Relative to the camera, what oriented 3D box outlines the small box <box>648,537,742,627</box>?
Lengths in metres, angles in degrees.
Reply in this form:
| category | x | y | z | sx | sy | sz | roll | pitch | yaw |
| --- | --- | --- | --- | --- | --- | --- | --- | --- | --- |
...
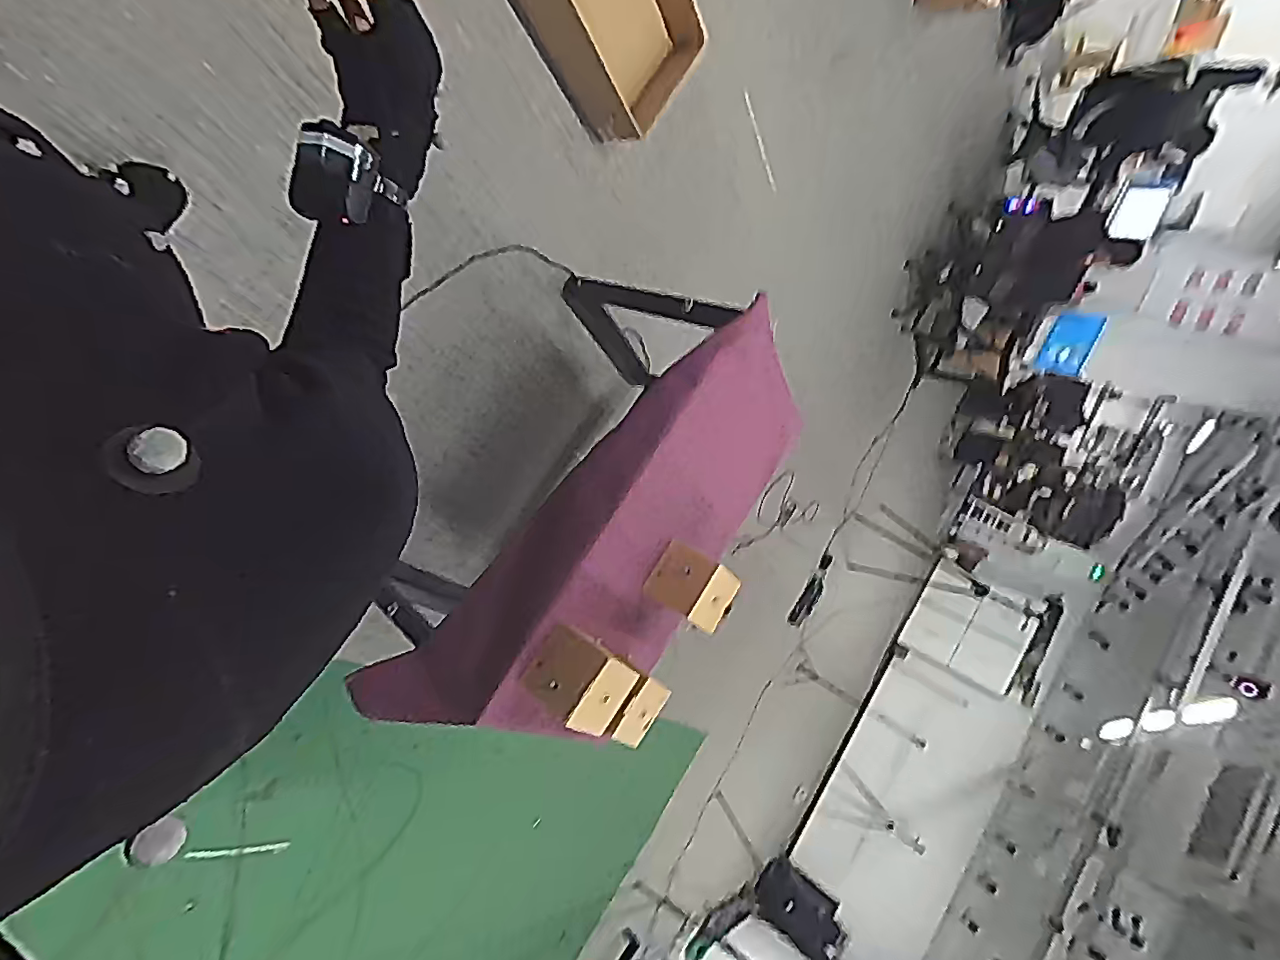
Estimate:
| category | x | y | z | sx | sy | sz | roll | pitch | yaw |
| --- | --- | --- | --- | --- | --- | --- | --- | --- | --- |
| small box | 0.151 | 0.278 | 1.499 | 0.168 | 0.176 | 0.179 | -57 | 144 | -9 |

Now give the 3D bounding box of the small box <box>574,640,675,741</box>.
| category | x | y | z | sx | sy | sz | roll | pitch | yaw |
| --- | --- | --- | --- | --- | --- | --- | --- | --- | --- |
| small box | -0.042 | 0.548 | 1.422 | 0.168 | 0.176 | 0.179 | -52 | 142 | -15 |
